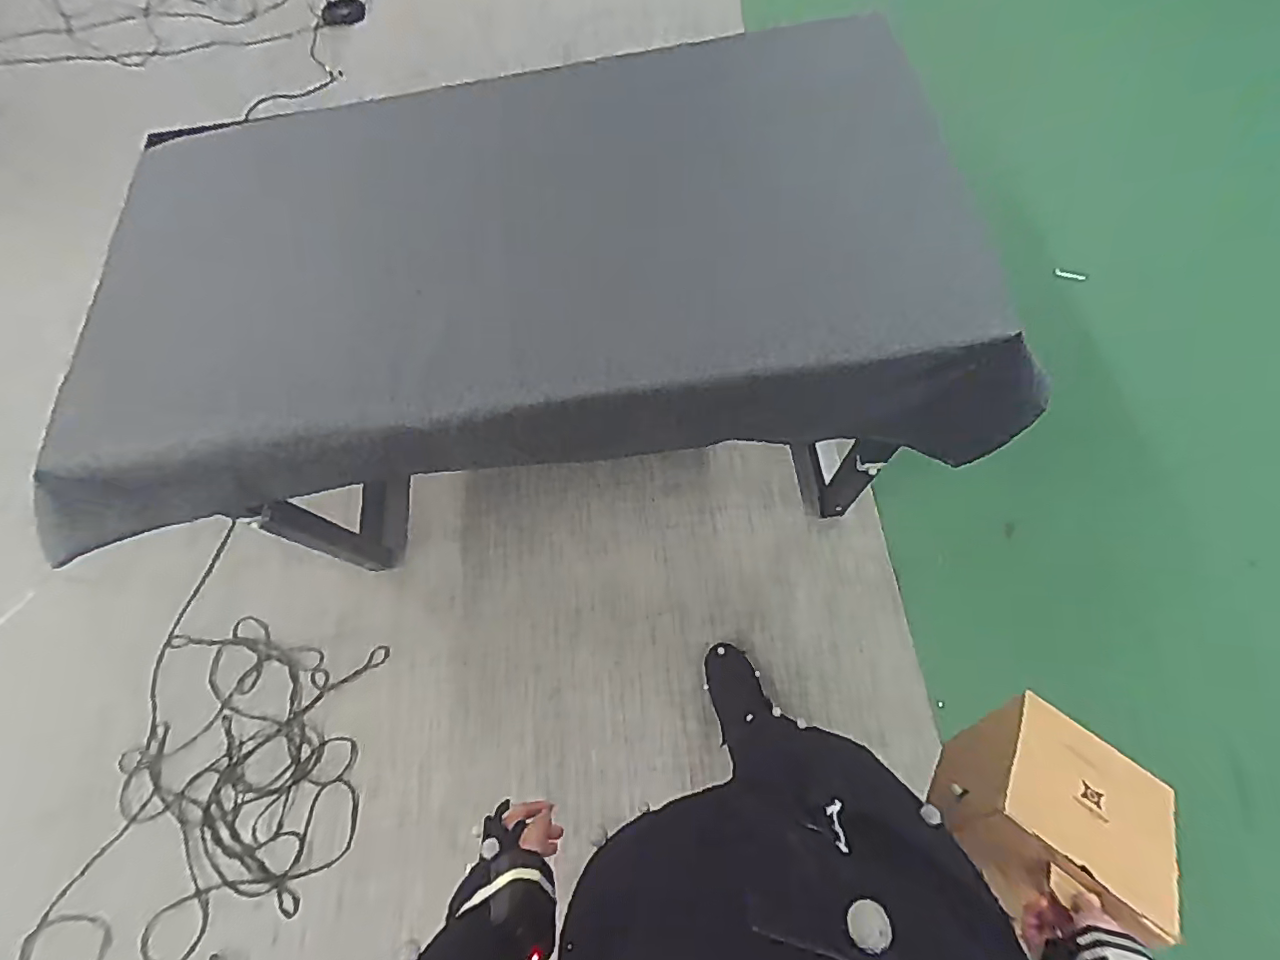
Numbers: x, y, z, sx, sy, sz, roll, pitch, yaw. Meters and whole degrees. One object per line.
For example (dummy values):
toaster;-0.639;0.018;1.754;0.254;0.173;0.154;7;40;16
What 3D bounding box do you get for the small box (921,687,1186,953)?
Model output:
small box;0.453;0.384;0.614;0.168;0.176;0.179;36;45;18
